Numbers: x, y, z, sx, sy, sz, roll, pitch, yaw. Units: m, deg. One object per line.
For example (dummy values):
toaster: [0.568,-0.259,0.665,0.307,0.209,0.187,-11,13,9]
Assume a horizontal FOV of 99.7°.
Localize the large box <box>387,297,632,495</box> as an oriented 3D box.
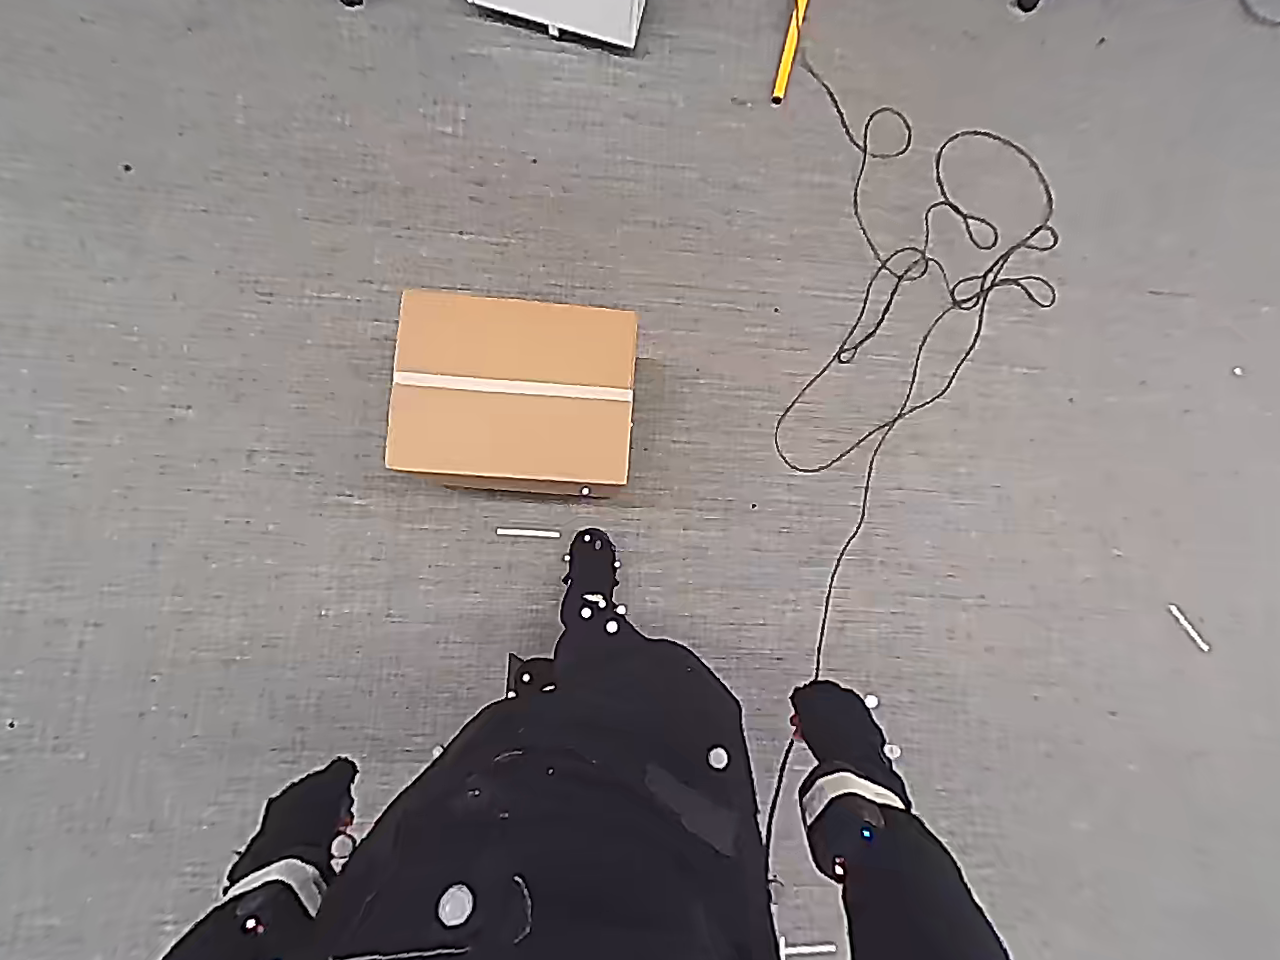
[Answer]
large box: [-0.232,-0.139,1.082,0.408,0.320,0.320,5,83,-5]
